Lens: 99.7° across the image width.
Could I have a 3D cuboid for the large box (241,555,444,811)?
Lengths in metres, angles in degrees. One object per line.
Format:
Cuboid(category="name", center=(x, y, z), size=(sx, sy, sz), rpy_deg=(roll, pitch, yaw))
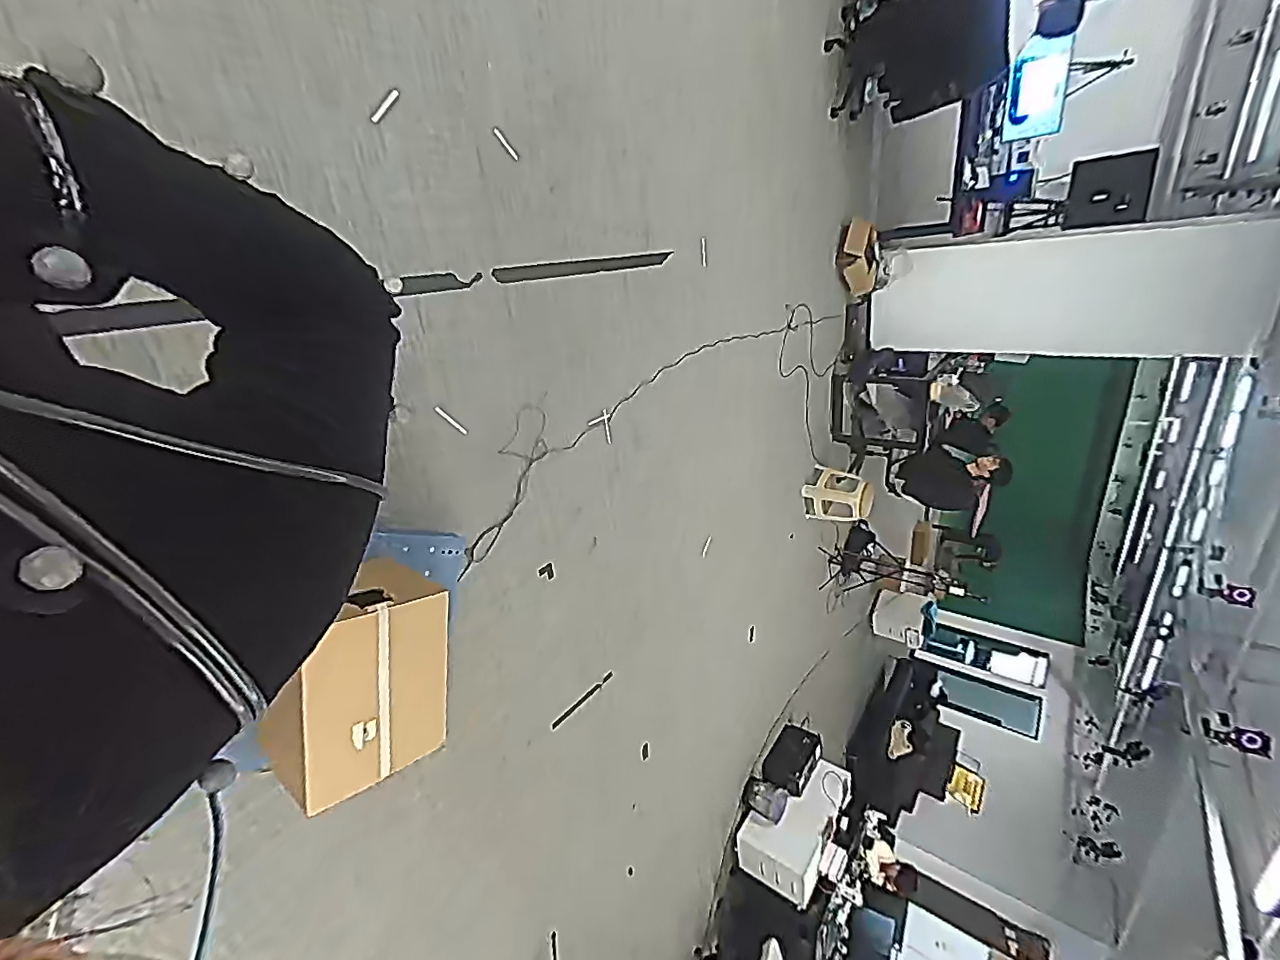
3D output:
Cuboid(category="large box", center=(-0.677, 0.426, 1.244), size=(0.320, 0.320, 0.408), rpy_deg=(-8, 107, -51))
